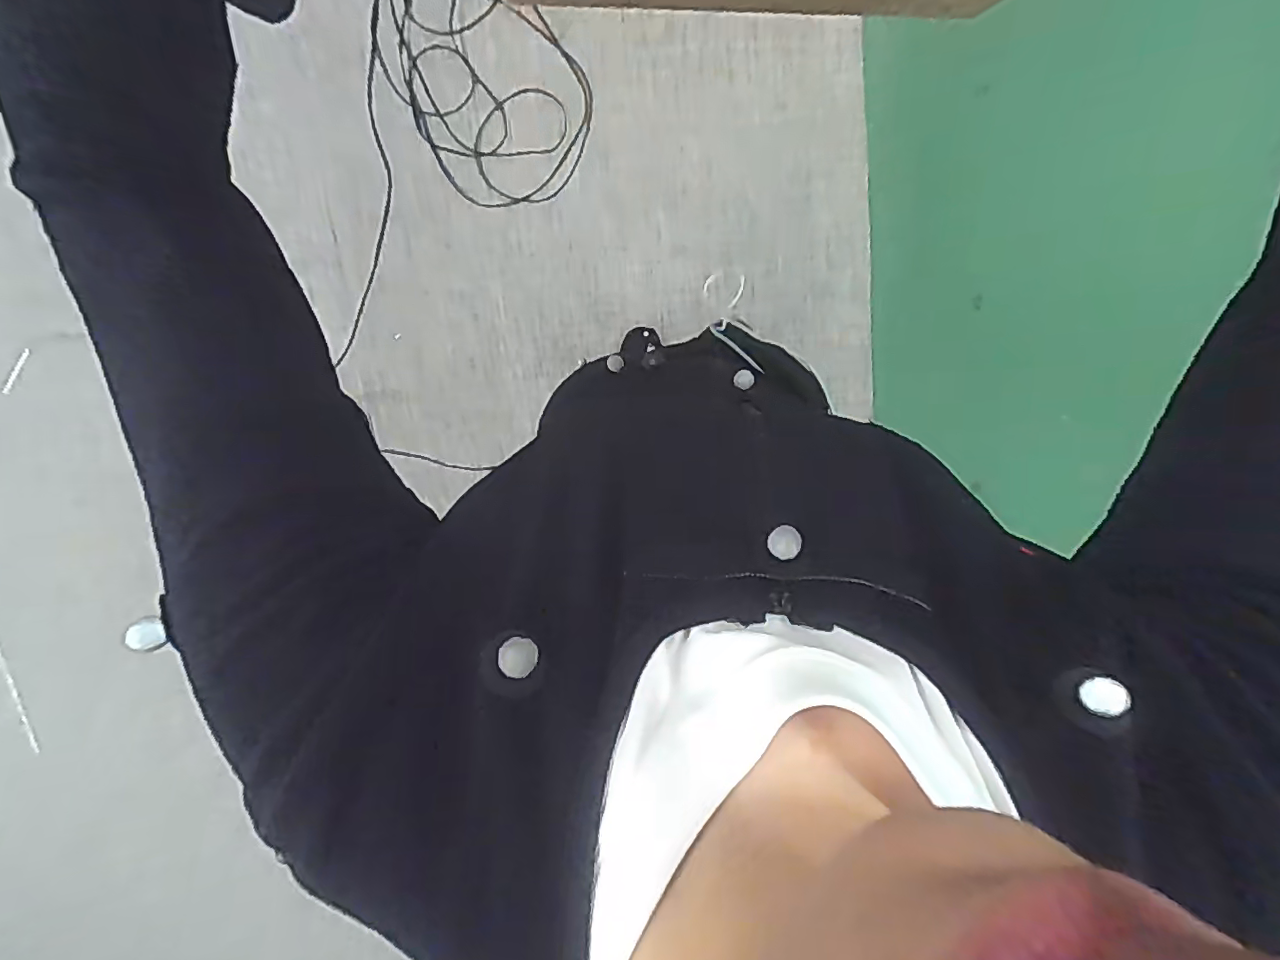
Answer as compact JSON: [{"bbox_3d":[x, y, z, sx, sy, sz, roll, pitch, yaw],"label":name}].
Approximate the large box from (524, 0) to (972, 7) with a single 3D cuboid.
[{"bbox_3d":[0.089,-0.492,0.269,0.408,0.320,0.320,0,112,-2],"label":"large box"}]
